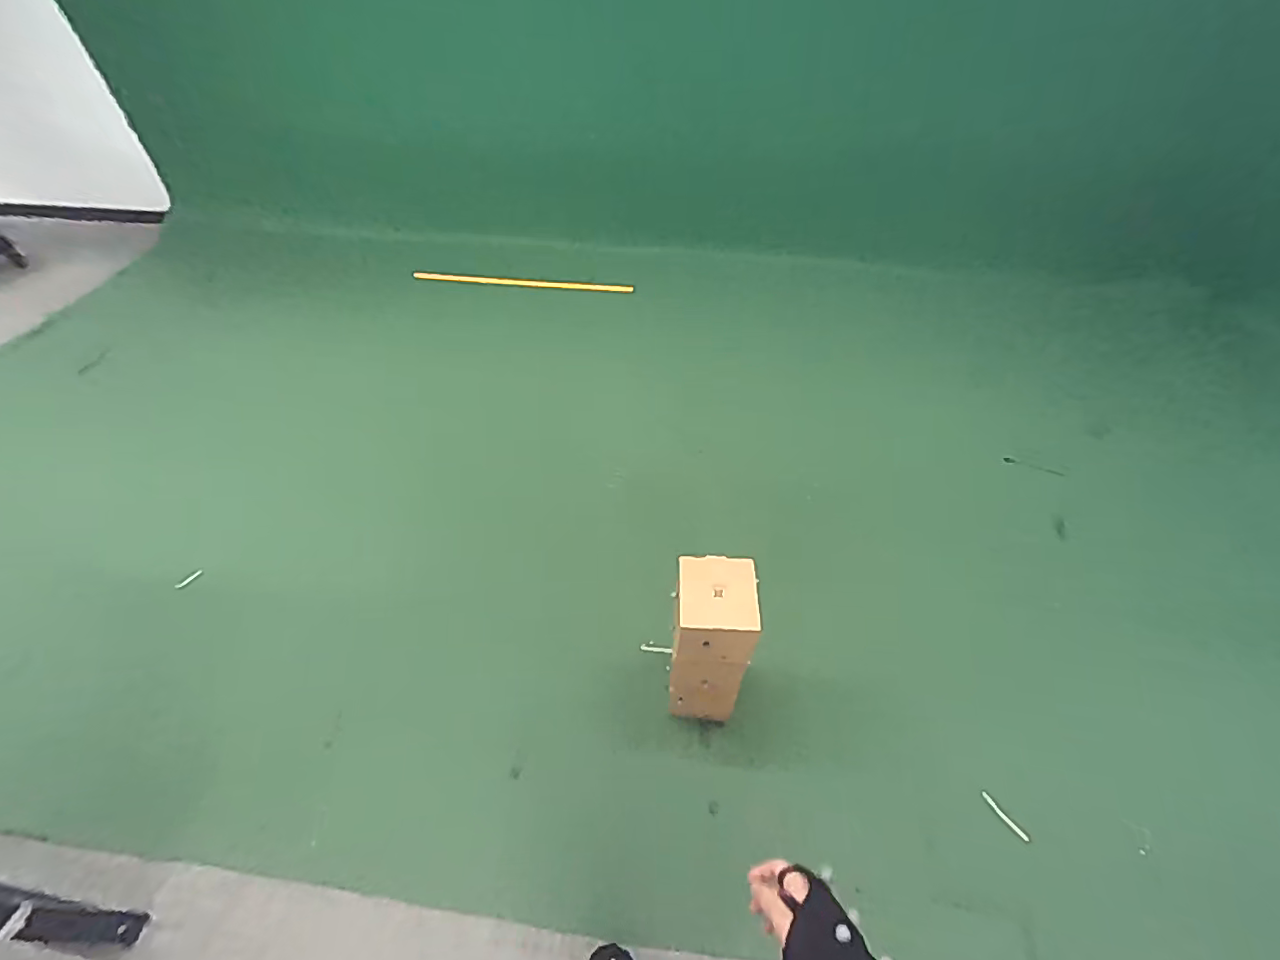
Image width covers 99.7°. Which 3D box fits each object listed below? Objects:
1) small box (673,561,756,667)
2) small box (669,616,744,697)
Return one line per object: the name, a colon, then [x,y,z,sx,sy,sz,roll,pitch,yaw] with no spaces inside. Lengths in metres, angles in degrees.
small box: [0.160,0.301,1.205,0.168,0.176,0.179,2,47,2]
small box: [0.159,0.408,1.327,0.168,0.176,0.179,3,47,4]
